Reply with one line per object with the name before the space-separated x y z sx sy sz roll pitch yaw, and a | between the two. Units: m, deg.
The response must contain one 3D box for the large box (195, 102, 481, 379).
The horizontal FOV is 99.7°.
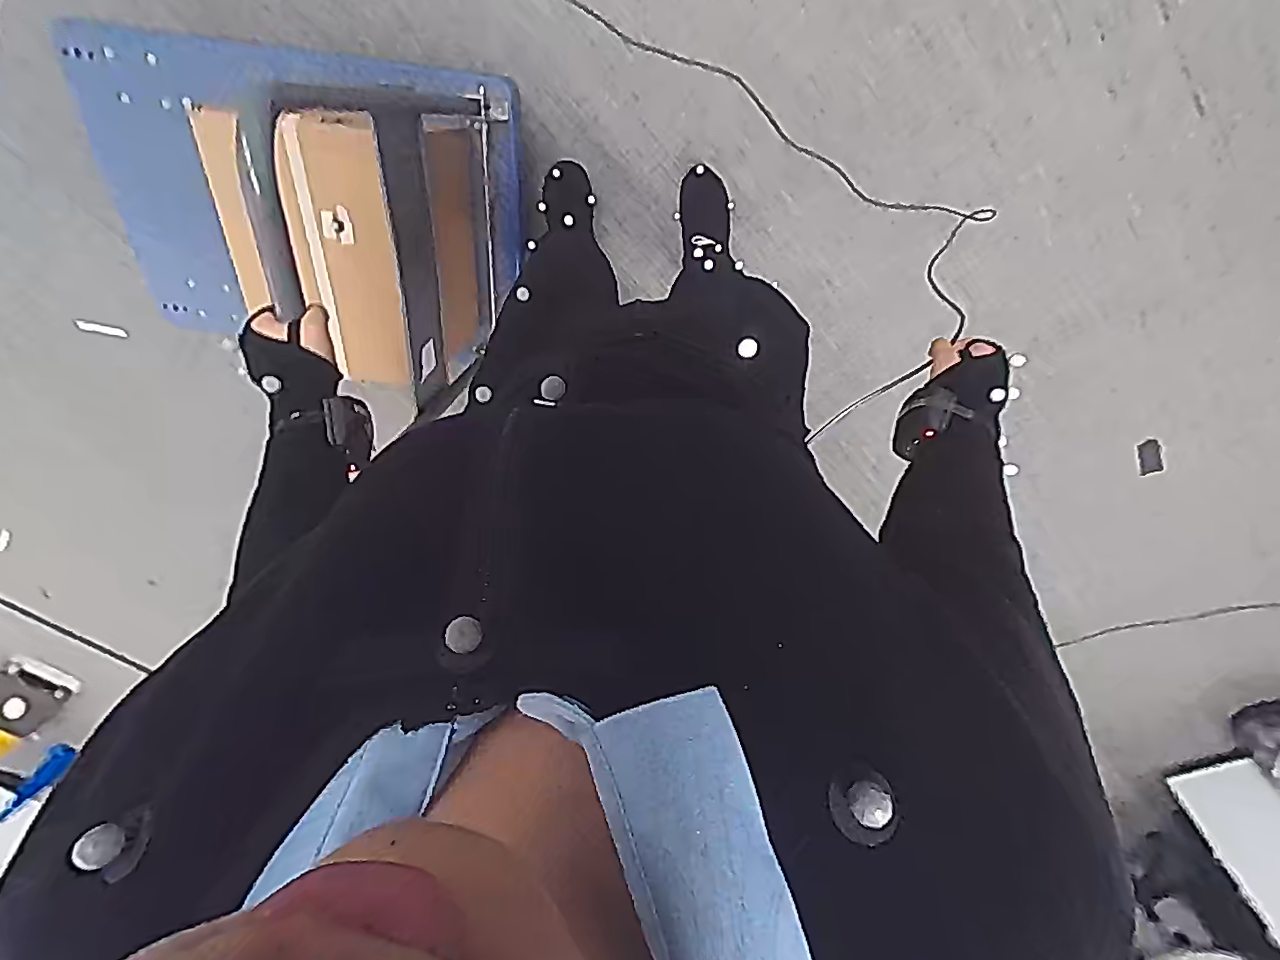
large box | -0.508 -0.448 1.019 0.320 0.320 0.408 7 124 -1
